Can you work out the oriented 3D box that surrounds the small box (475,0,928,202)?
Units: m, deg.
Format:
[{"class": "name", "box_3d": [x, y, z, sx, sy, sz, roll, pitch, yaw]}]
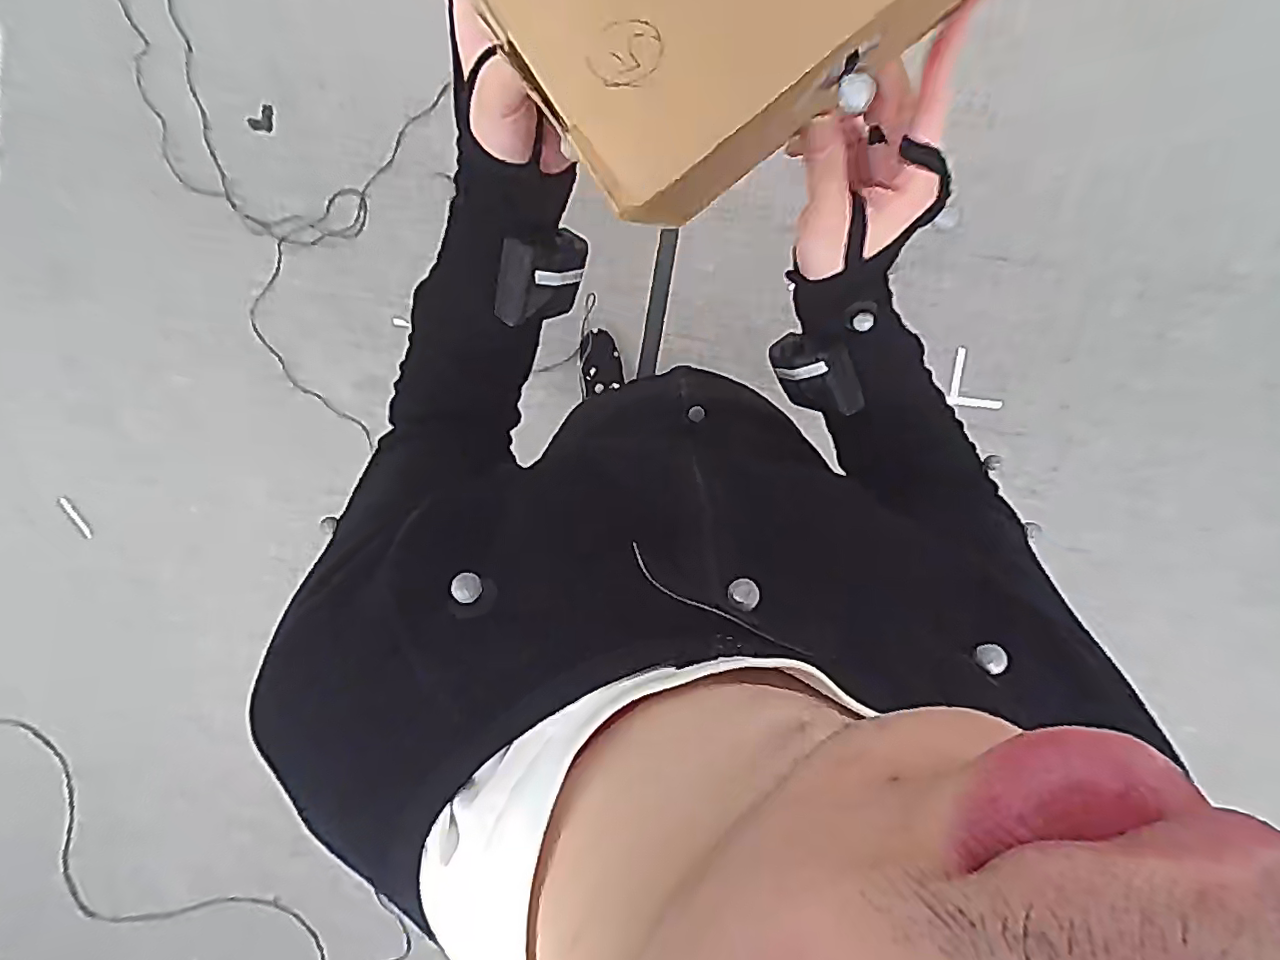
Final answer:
[{"class": "small box", "box_3d": [0.026, -0.230, 0.202, 0.179, 0.176, 0.168, -32, 106, 22]}]
